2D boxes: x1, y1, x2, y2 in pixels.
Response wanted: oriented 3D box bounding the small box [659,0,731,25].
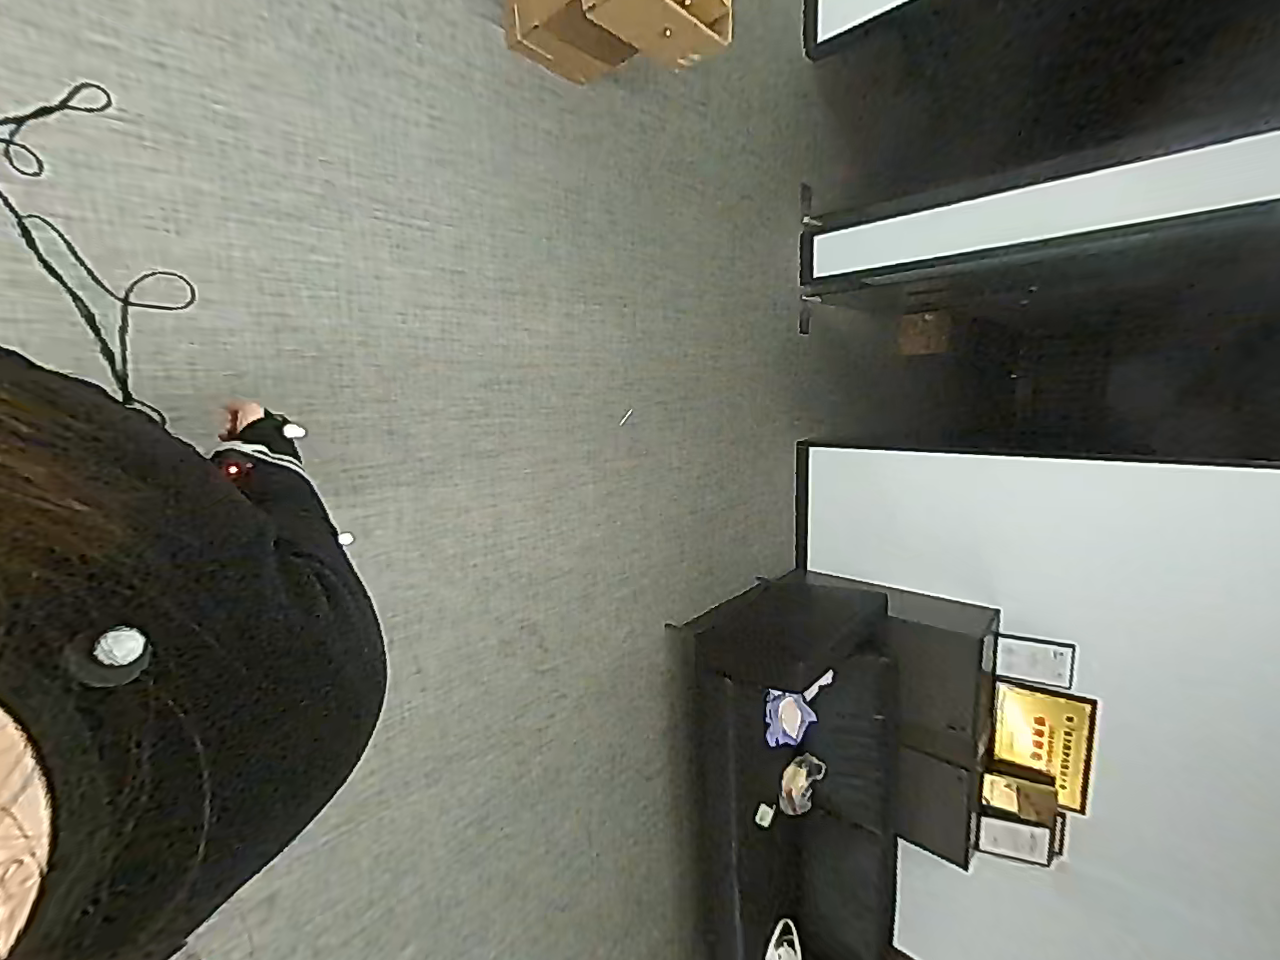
[{"bbox_3d":[0.143,-1.343,1.403,0.179,0.176,0.168,-2,98,-45],"label":"small box"}]
